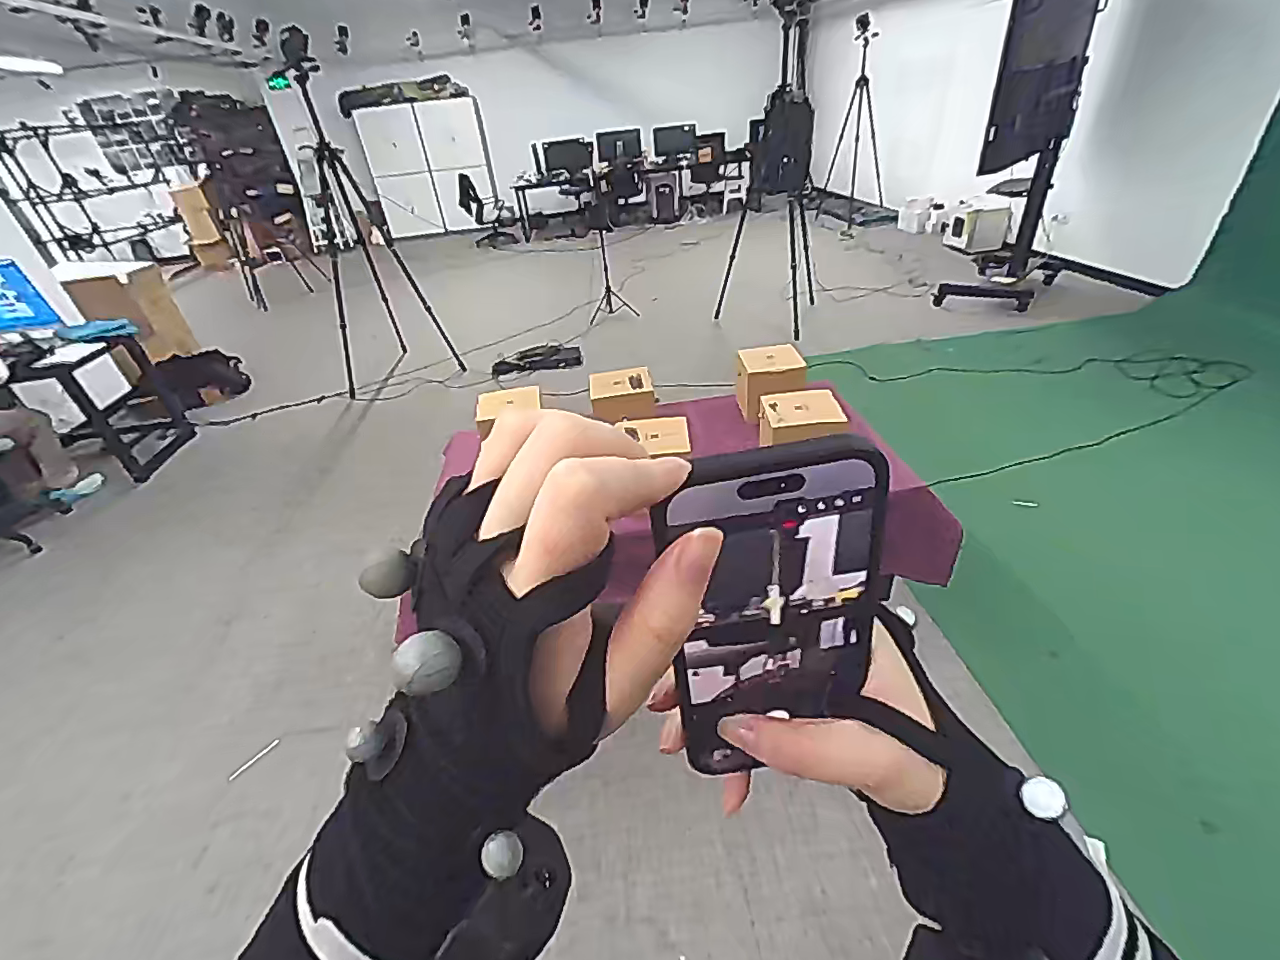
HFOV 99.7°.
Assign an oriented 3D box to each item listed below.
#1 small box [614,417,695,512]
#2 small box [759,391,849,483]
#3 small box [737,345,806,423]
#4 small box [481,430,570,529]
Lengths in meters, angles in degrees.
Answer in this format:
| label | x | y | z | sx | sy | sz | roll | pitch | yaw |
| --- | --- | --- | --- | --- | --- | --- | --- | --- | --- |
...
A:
| label | x | y | z | sx | sy | sz | roll | pitch | yaw |
| --- | --- | --- | --- | --- | --- | --- | --- | --- | --- |
| small box | 0.037 | -0.036 | 1.309 | 0.179 | 0.176 | 0.168 | -4 | 35 | 3 |
| small box | 0.399 | -0.106 | 1.347 | 0.179 | 0.176 | 0.168 | -4 | 34 | 4 |
| small box | 0.383 | -0.285 | 1.605 | 0.168 | 0.176 | 0.179 | -7 | 35 | 2 |
| small box | -0.274 | 0.001 | 1.313 | 0.179 | 0.176 | 0.168 | -10 | 34 | -7 |
